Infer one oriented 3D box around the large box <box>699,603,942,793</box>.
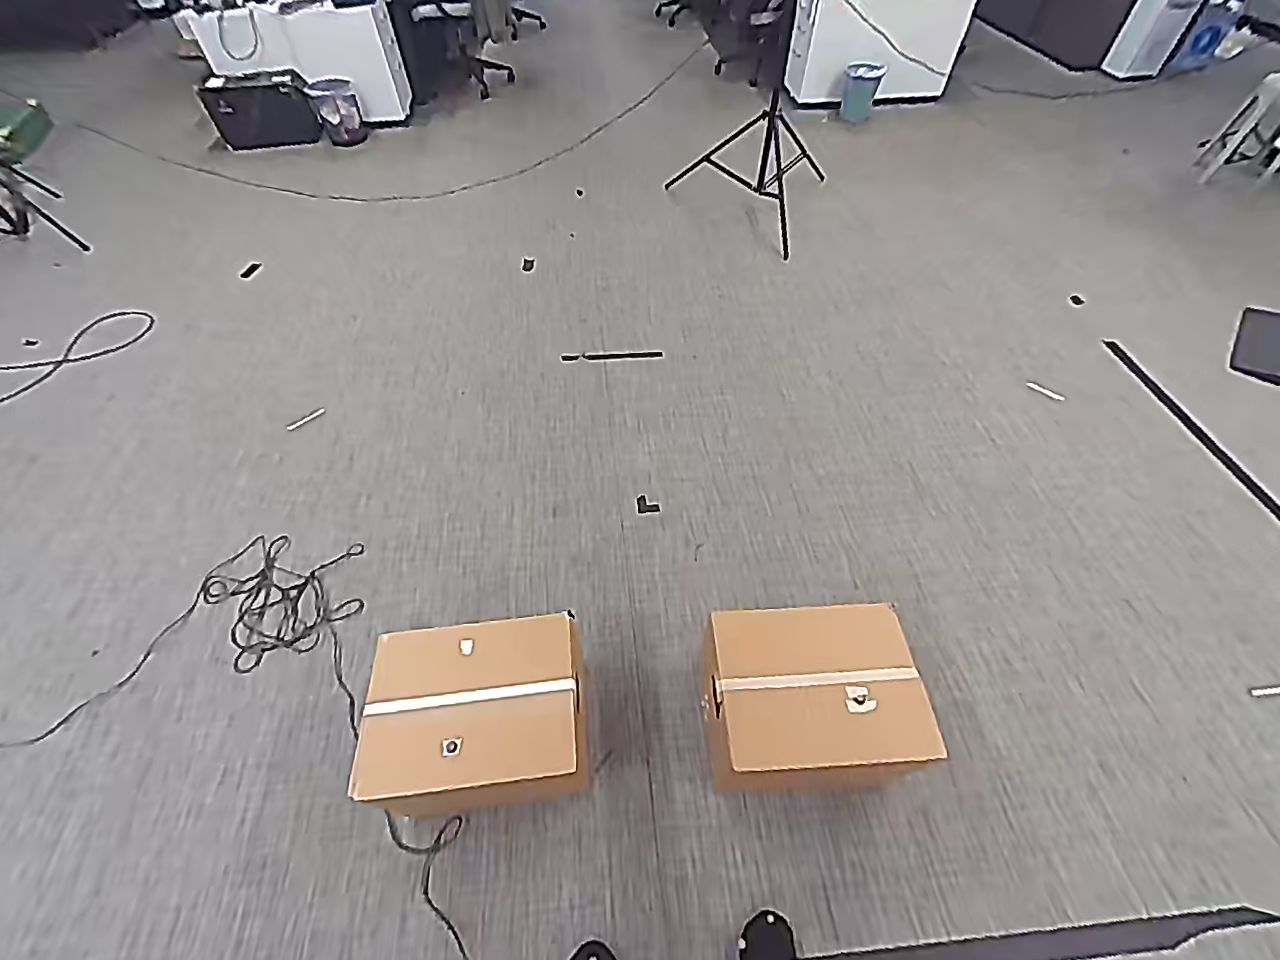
[{"bbox_3d":[0.362,0.494,1.215,0.408,0.320,0.320,-2,53,-2],"label":"large box"}]
